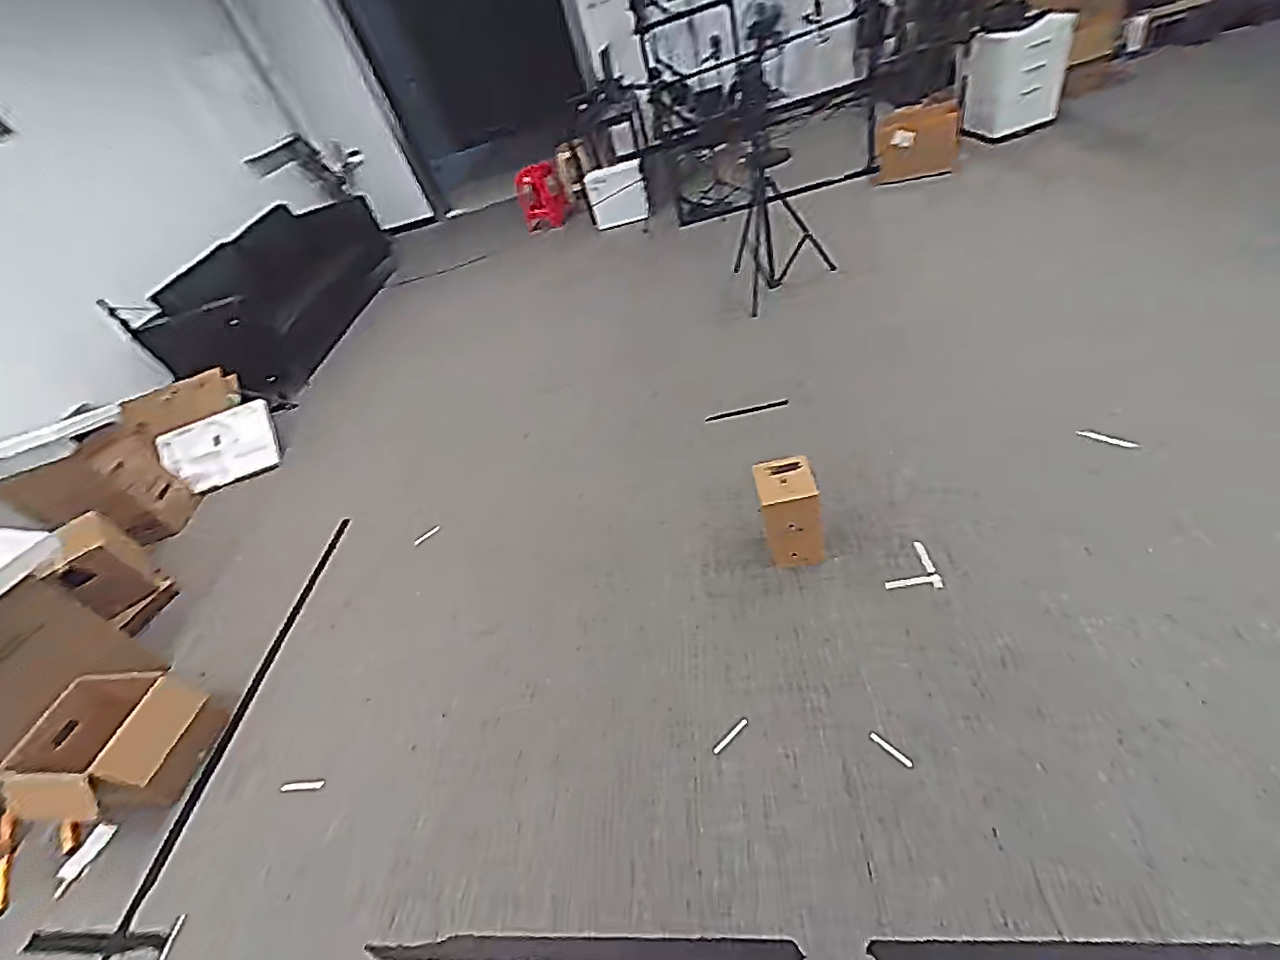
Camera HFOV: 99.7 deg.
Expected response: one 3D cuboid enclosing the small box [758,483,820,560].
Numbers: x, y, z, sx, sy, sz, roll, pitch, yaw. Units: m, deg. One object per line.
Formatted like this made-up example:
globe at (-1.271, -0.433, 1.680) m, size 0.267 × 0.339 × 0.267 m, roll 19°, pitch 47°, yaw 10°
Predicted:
small box at (0.496, 0.139, 1.801) m, size 0.168 × 0.176 × 0.179 m, roll -12°, pitch 44°, yaw 10°
